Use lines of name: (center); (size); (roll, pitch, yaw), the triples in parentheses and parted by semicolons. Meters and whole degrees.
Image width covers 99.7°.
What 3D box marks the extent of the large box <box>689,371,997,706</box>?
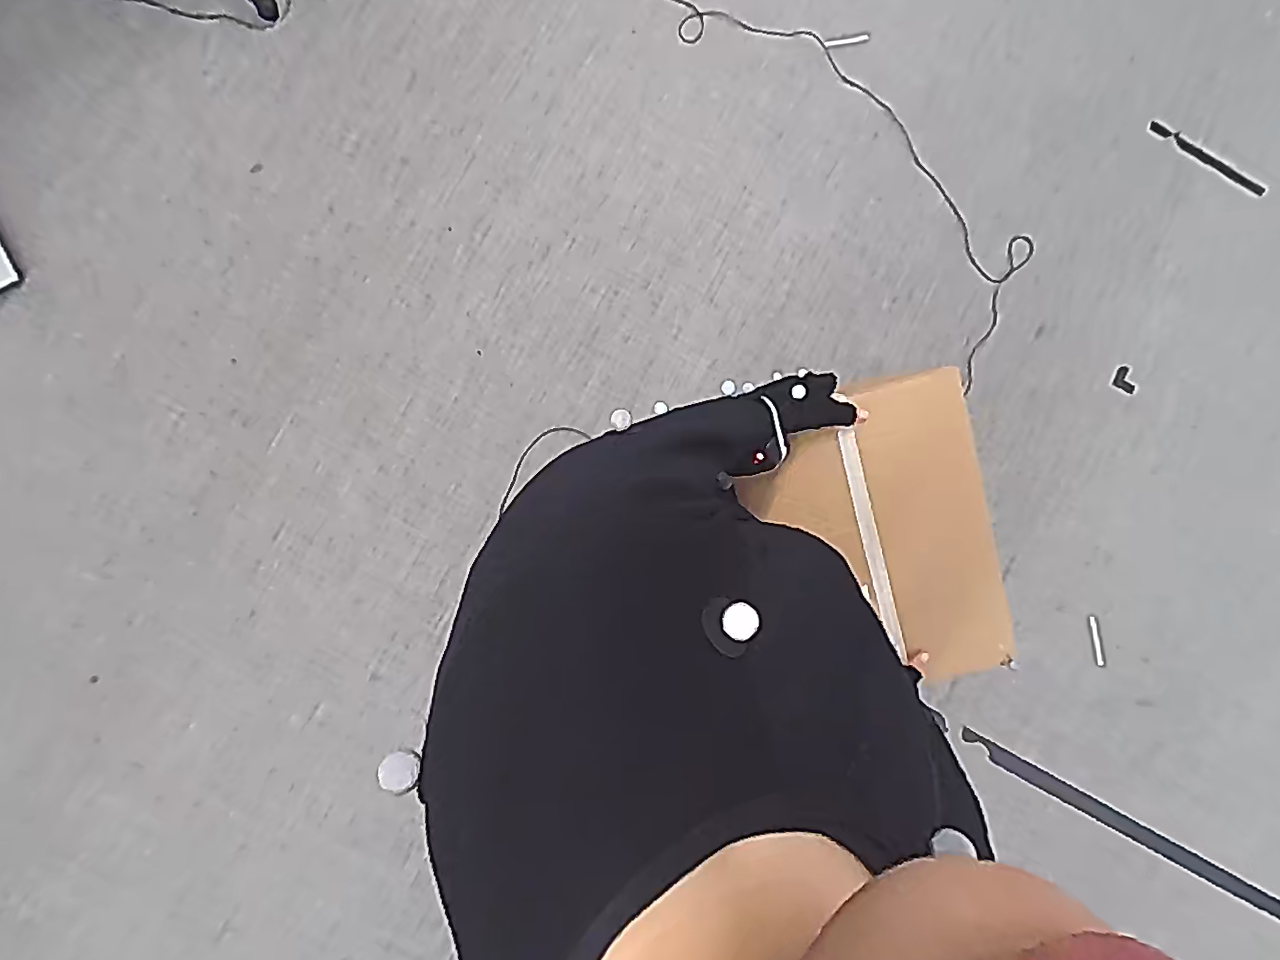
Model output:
large box: (0.290, 0.067, 0.869); (0.320, 0.320, 0.408); (-15, 98, 2)
